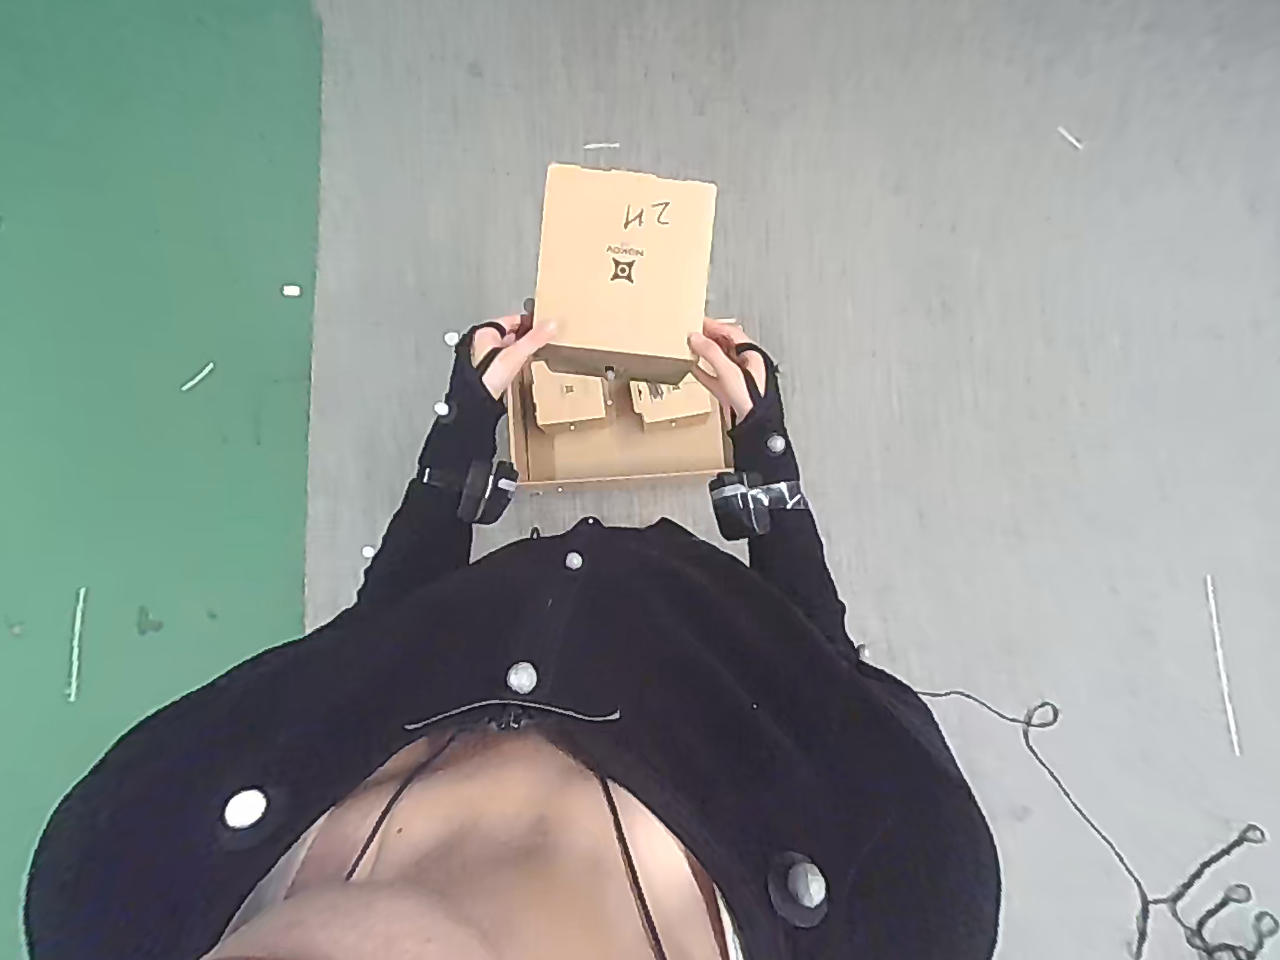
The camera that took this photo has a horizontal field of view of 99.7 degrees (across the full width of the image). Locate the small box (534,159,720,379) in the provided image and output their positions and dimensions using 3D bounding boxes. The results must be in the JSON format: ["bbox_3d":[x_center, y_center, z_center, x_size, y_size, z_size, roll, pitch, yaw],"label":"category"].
[{"bbox_3d":[-0.016,-0.215,0.602,0.168,0.176,0.179,6,91,-3],"label":"small box"}]

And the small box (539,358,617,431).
[{"bbox_3d":[-0.161,-0.230,1.447,0.179,0.176,0.168,-7,86,0],"label":"small box"}]

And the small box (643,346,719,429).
[{"bbox_3d":[0.104,-0.238,1.438,0.179,0.176,0.168,-10,85,1],"label":"small box"}]
